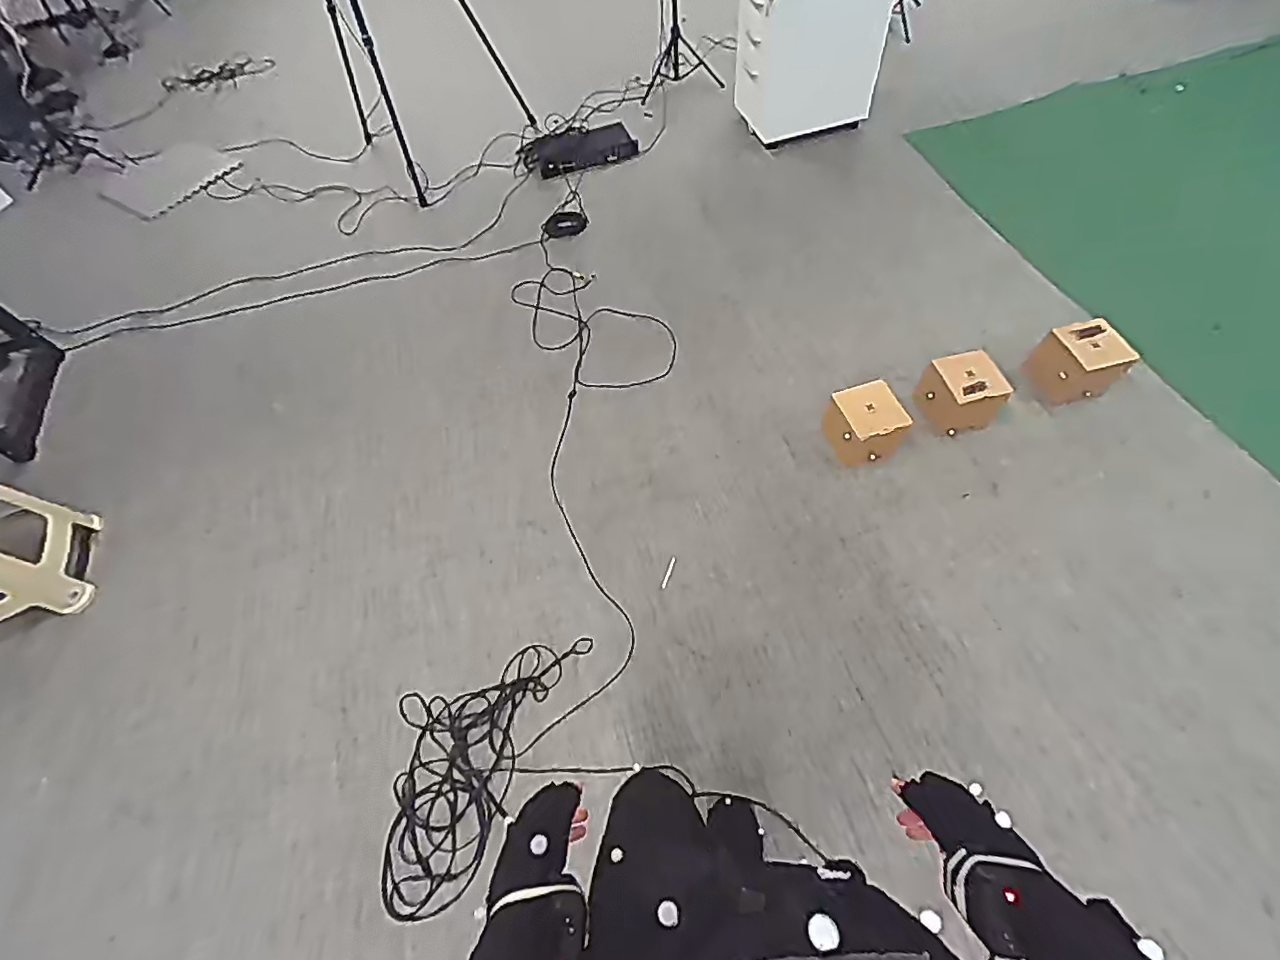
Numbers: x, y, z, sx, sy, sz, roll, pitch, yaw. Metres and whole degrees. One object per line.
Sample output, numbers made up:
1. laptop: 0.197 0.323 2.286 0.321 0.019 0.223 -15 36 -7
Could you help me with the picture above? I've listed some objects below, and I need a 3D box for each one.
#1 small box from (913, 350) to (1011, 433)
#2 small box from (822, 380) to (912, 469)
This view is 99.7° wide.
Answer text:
1. small box: 0.961 -0.260 1.631 0.168 0.176 0.179 -12 58 -1
2. small box: 0.663 -0.163 1.606 0.168 0.176 0.179 -17 59 -4
